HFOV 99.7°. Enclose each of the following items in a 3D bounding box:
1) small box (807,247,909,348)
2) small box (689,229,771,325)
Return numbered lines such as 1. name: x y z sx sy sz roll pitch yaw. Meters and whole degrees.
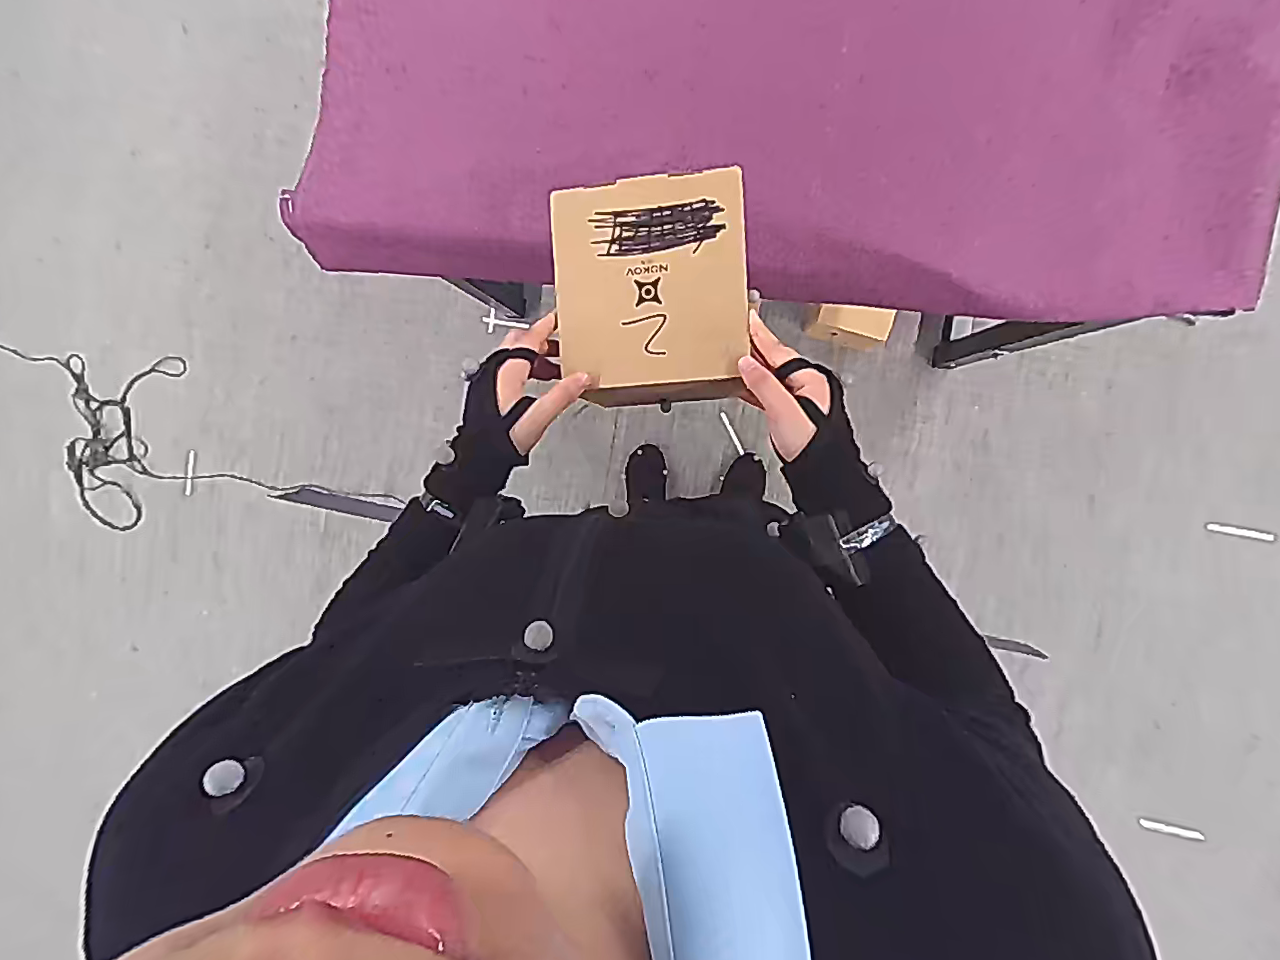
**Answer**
1. small box: 0.521 -0.436 1.325 0.168 0.176 0.179 18 96 5
2. small box: 0.220 -0.497 1.349 0.168 0.176 0.179 11 96 4
